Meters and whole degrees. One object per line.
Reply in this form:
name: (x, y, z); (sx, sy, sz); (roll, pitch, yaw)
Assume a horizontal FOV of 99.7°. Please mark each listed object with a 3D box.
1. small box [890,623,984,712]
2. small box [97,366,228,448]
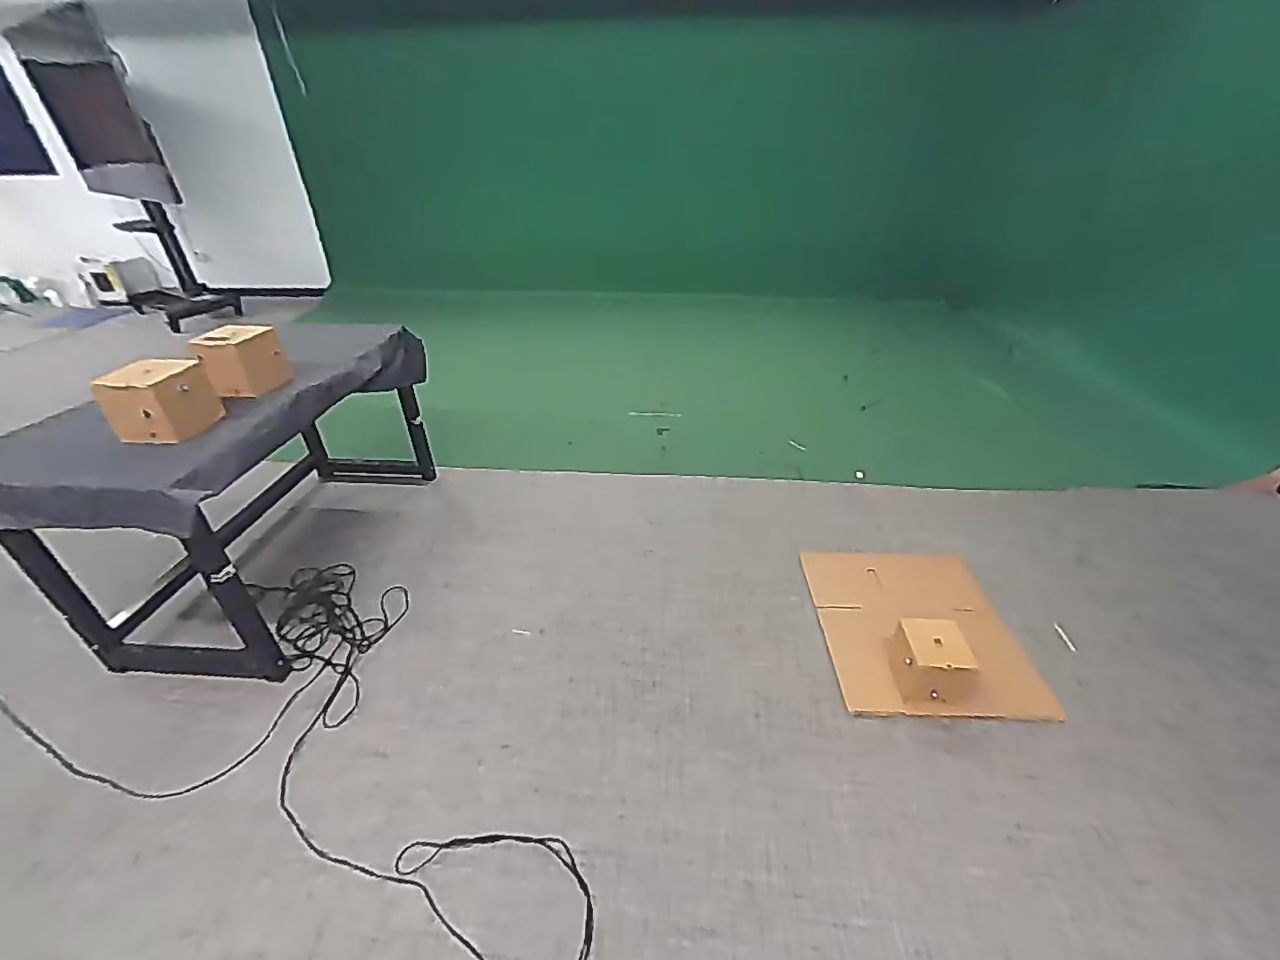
small box: (0.846, 0.539, 1.562); (0.168, 0.176, 0.179); (2, 33, 4)
small box: (-1.261, -0.195, 1.447); (0.168, 0.176, 0.179); (2, 32, 3)
